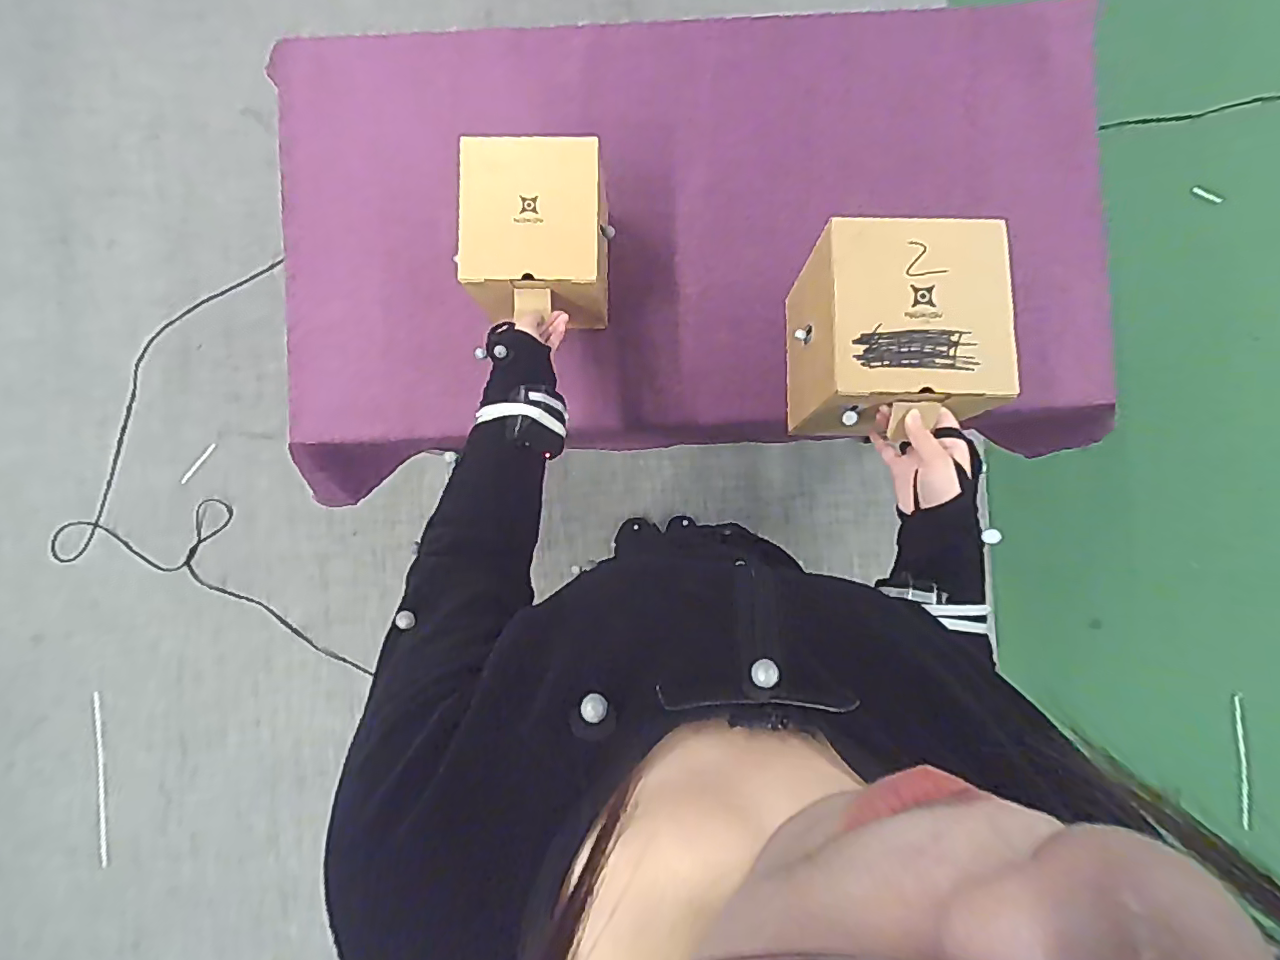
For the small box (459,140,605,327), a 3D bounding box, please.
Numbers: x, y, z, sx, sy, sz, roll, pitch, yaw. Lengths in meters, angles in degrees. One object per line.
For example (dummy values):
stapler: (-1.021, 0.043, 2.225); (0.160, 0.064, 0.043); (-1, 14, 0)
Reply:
small box: (-0.135, -0.321, 0.730); (0.168, 0.176, 0.179); (0, 88, 0)
